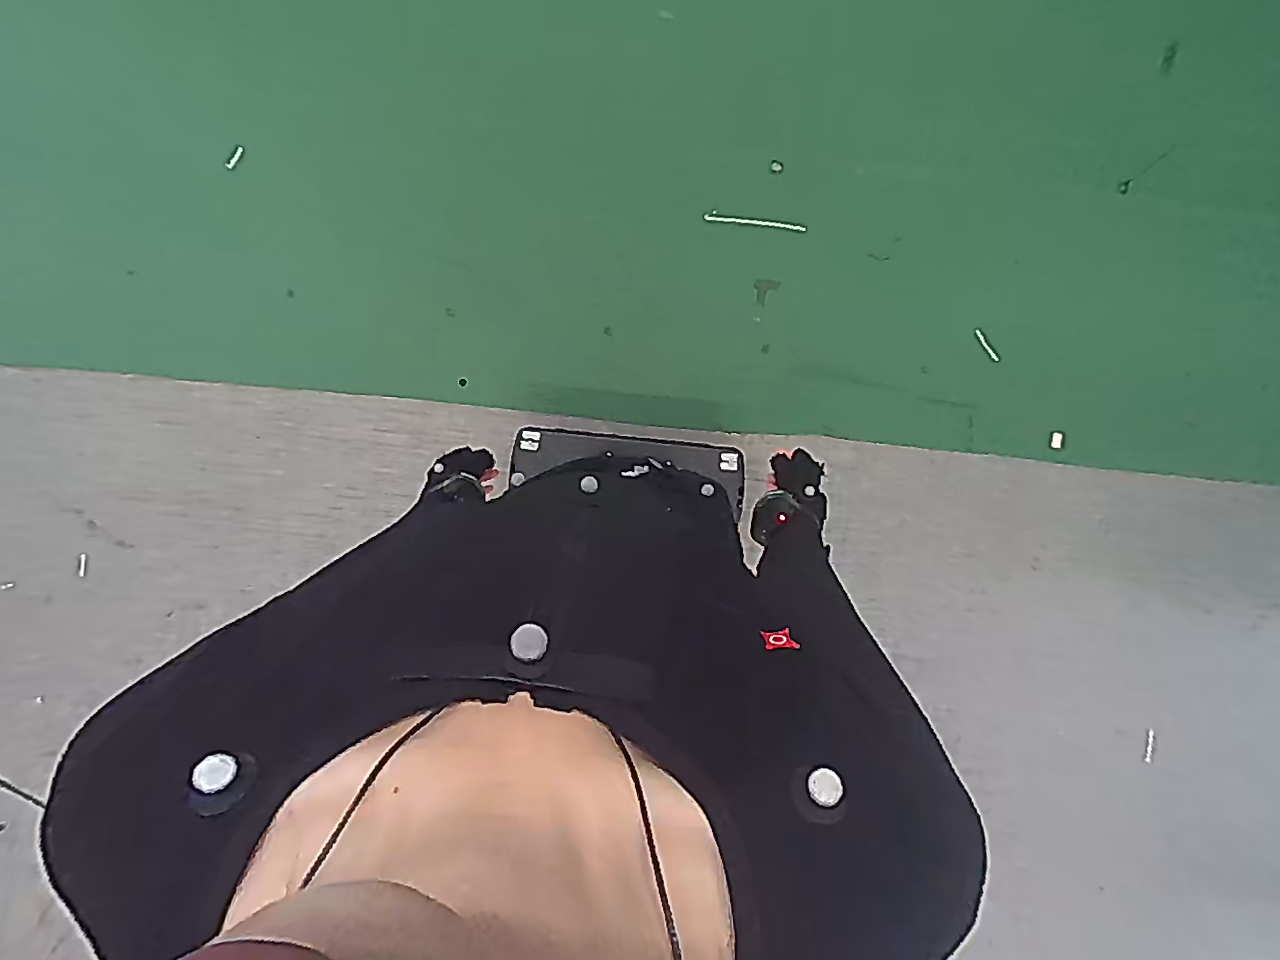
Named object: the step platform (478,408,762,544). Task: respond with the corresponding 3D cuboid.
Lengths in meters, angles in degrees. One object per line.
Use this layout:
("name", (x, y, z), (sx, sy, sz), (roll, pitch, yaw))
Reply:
("step platform", (-0.049, -0.012, 1.388), (0.684, 0.204, 0.286), (5, 93, 0))
